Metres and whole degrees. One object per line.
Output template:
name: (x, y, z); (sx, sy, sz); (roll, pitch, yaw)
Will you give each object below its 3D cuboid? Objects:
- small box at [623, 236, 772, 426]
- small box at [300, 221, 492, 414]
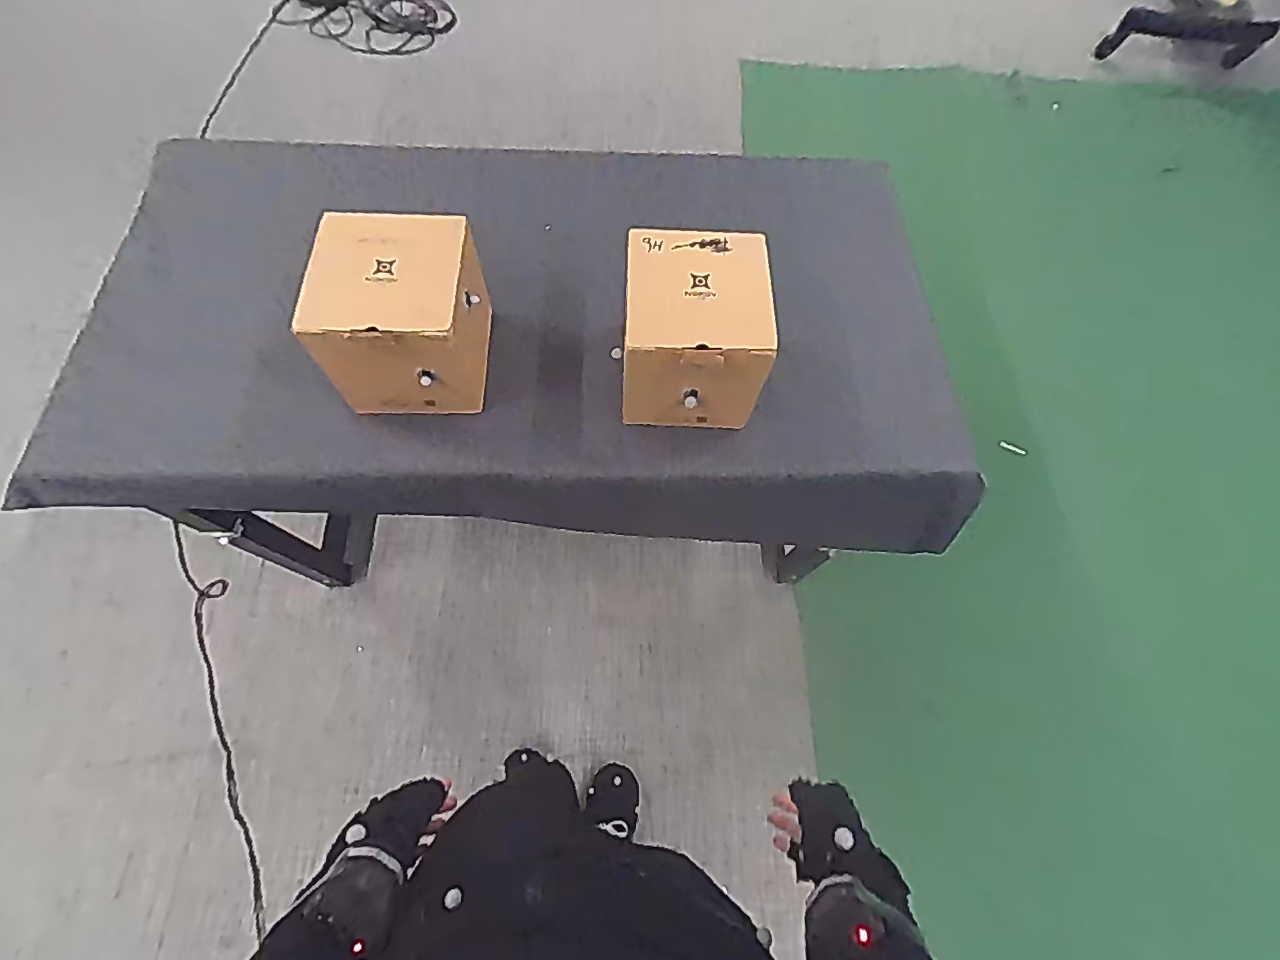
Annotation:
small box: (0.063, -0.181, 0.694); (0.168, 0.176, 0.179); (2, 67, -2)
small box: (-0.288, -0.195, 0.683); (0.168, 0.176, 0.179); (-1, 64, -5)
